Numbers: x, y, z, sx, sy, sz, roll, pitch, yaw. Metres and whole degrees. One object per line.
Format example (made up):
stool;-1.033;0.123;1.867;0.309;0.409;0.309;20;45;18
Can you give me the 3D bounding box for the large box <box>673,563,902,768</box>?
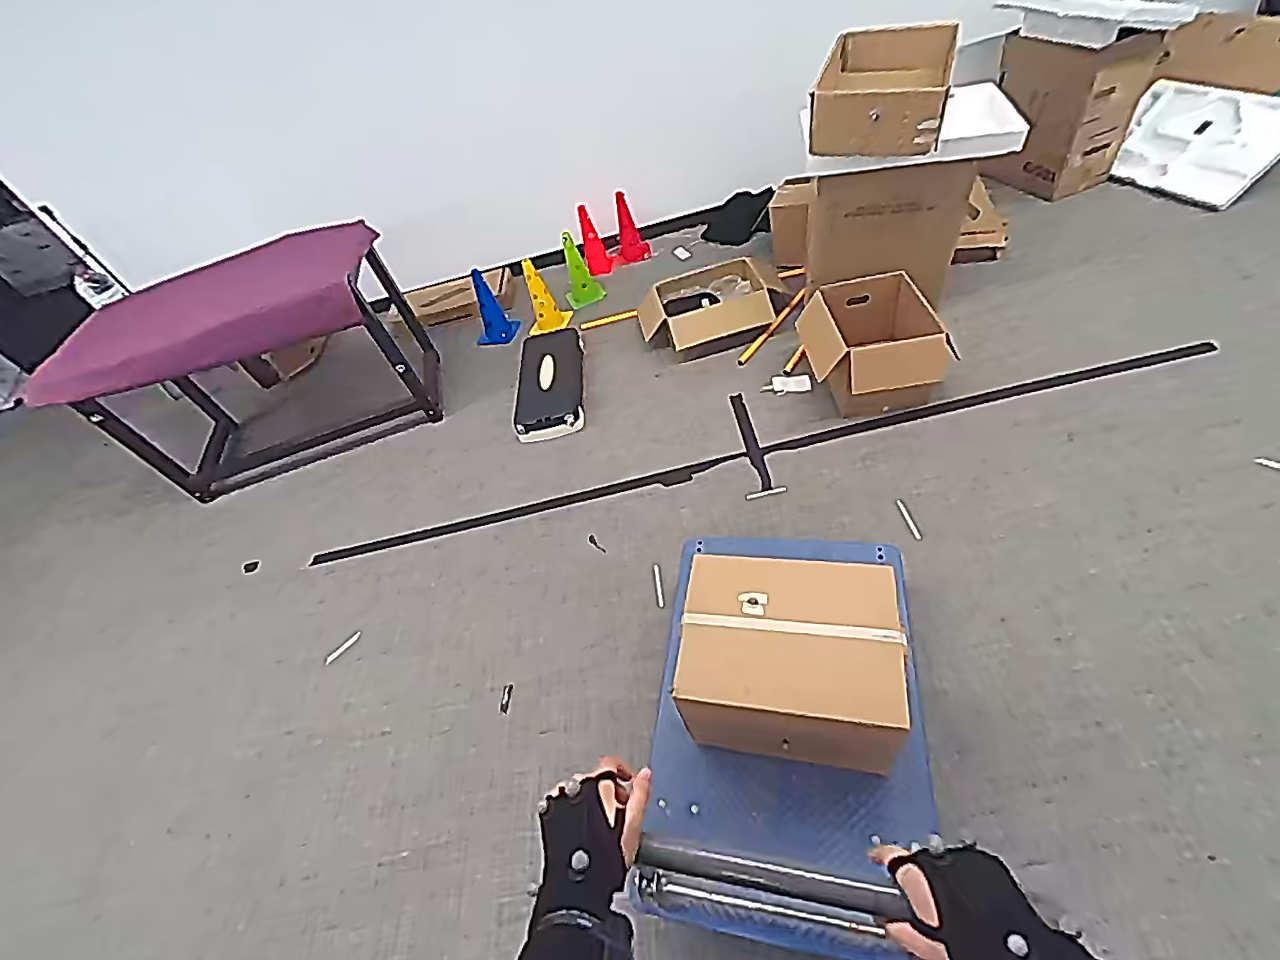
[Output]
large box;0.313;0.395;1.165;0.408;0.320;0.320;0;49;17
